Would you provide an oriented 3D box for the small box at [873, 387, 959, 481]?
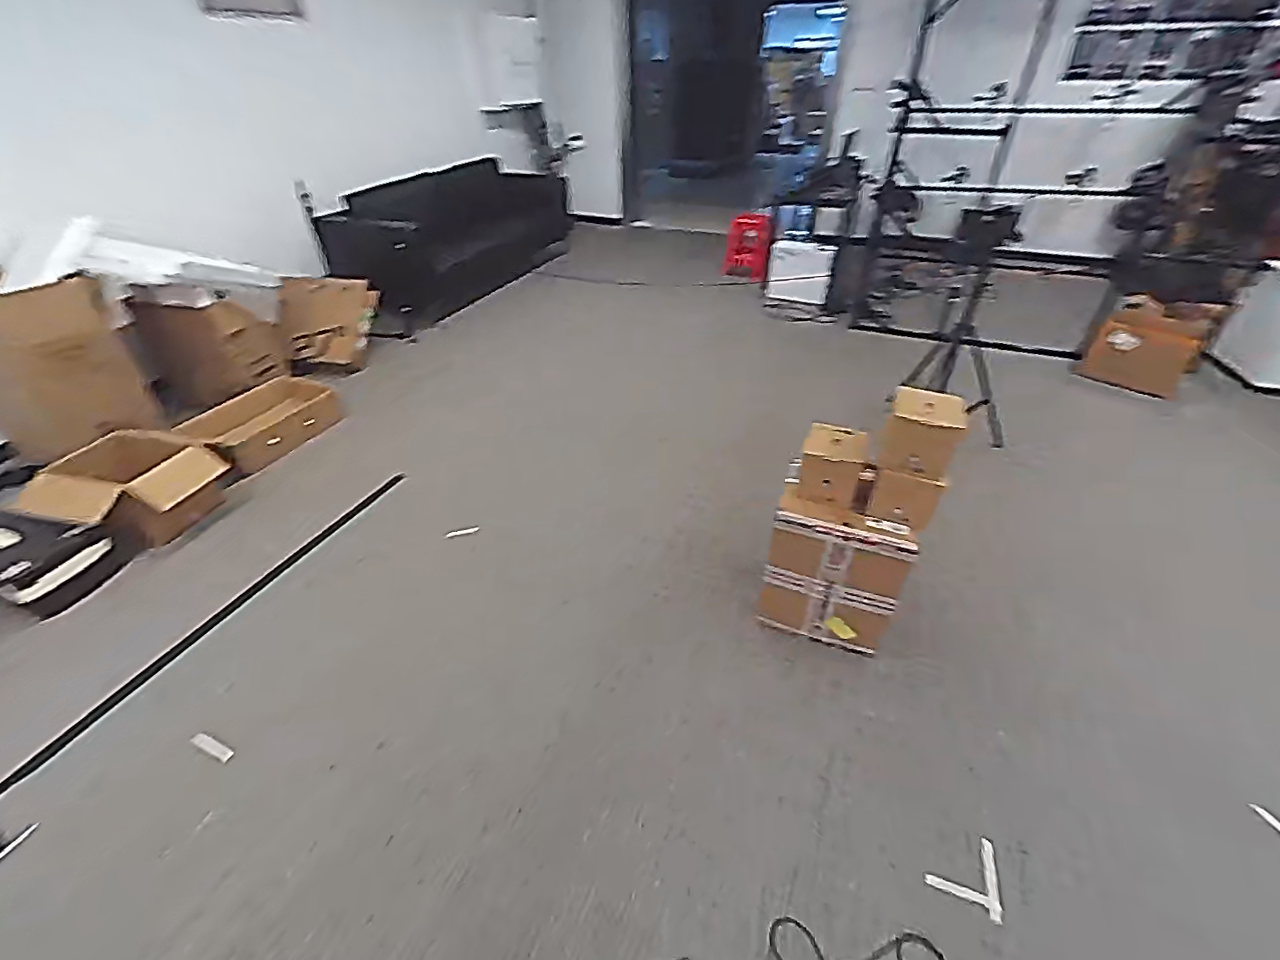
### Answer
[{"bbox_3d":[0.745,-0.126,1.472,0.168,0.176,0.179,15,41,17],"label":"small box"}]

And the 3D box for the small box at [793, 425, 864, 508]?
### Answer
[{"bbox_3d":[0.564,-0.039,1.631,0.168,0.176,0.179,14,42,21],"label":"small box"}]

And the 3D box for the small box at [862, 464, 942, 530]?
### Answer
[{"bbox_3d":[0.755,0.014,1.561,0.168,0.176,0.179,16,42,18],"label":"small box"}]
